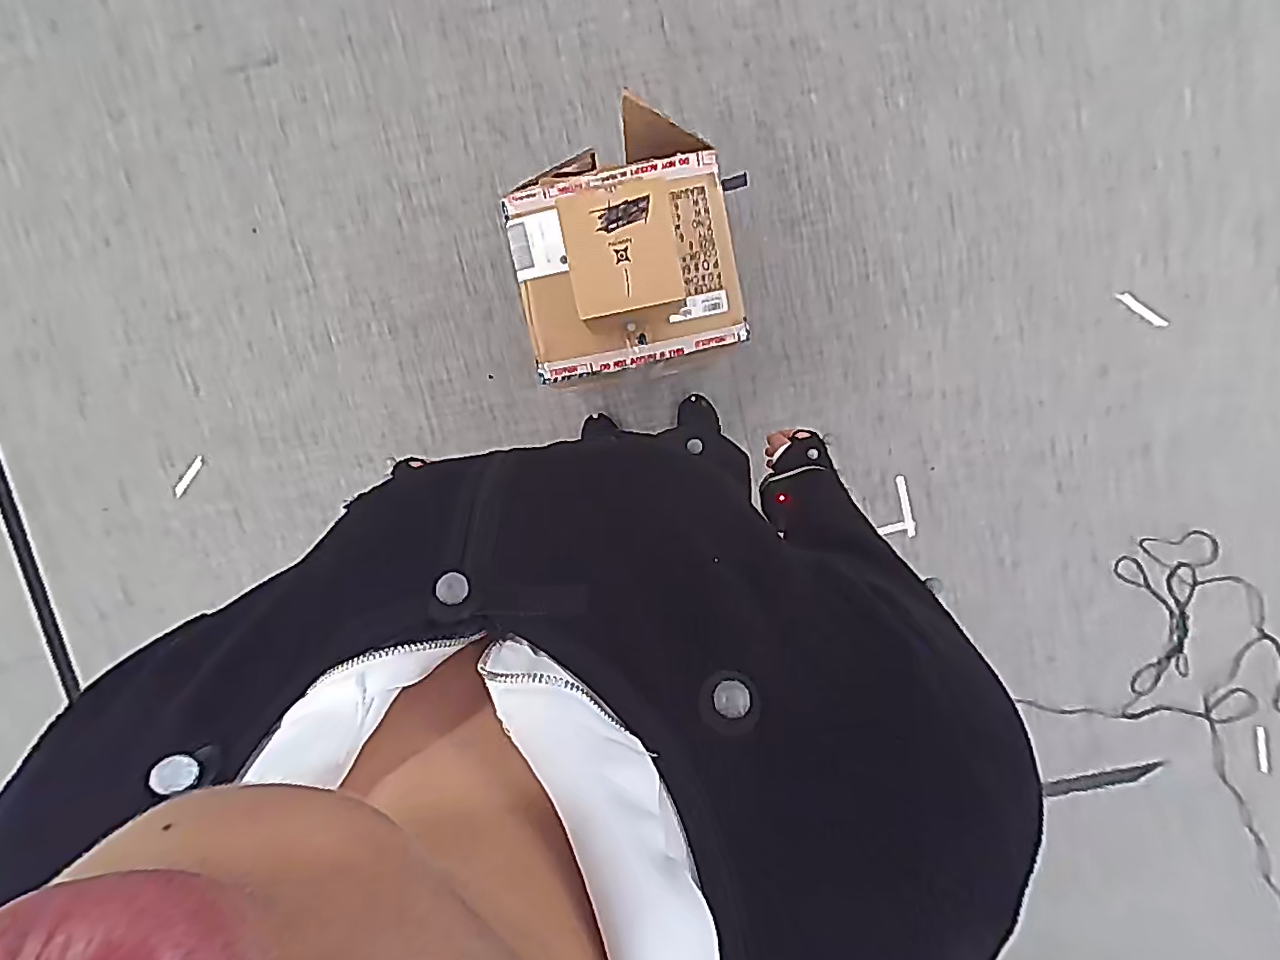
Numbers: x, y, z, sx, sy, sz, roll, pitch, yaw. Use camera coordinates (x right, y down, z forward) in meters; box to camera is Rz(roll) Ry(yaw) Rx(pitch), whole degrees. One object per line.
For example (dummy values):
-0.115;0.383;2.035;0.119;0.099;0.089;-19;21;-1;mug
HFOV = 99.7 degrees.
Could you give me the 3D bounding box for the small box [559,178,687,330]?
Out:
-0.025;-0.352;0.874;0.168;0.176;0.179;-11;100;2;small box
